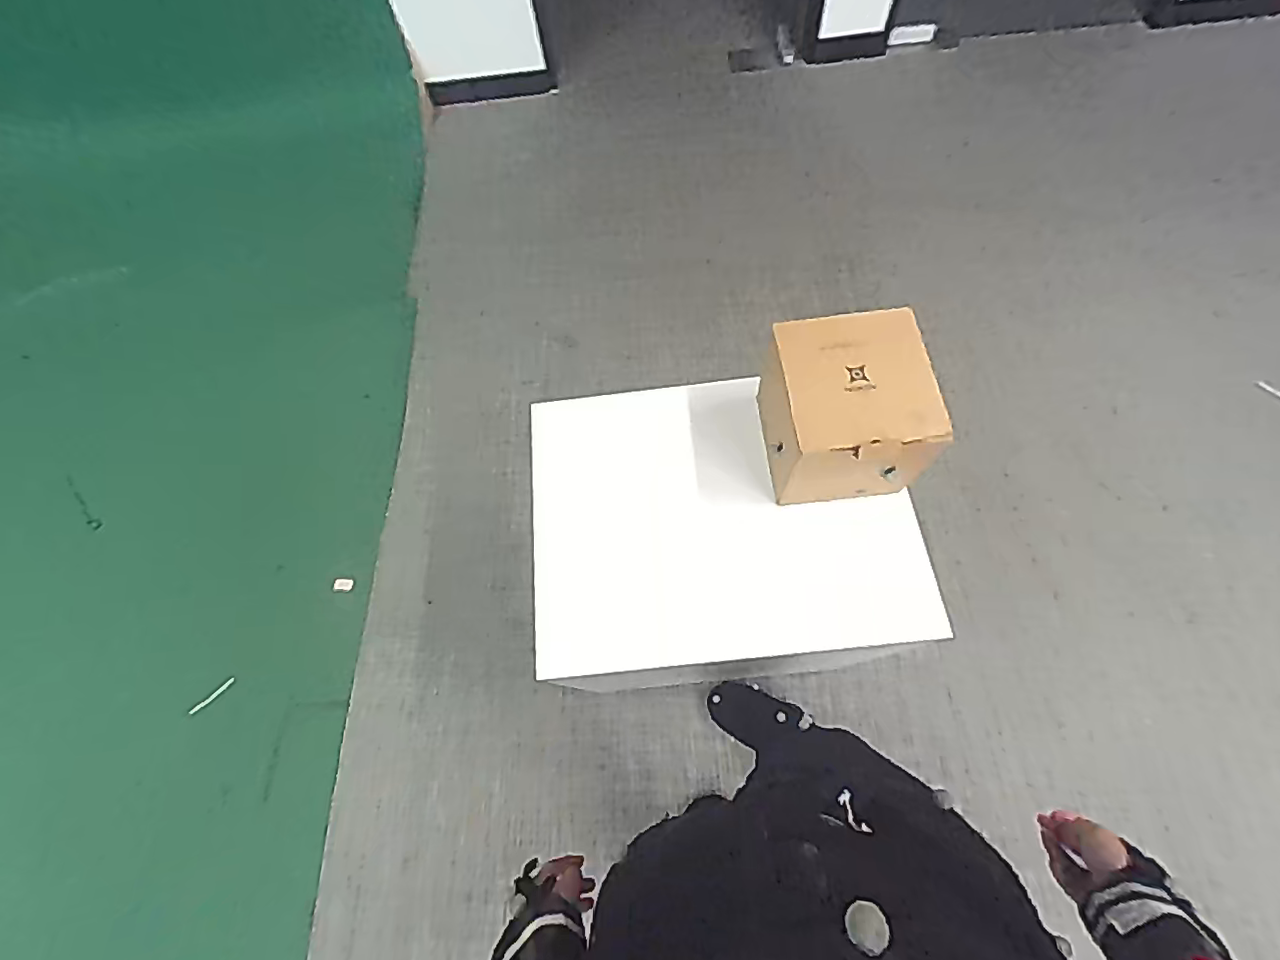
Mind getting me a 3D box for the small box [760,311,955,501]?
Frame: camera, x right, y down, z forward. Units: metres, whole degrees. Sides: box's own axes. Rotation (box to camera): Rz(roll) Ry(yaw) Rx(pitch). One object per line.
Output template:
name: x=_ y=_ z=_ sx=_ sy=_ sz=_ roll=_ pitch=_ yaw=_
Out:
small box: x=0.253 y=-0.081 z=0.678 sx=0.168 sy=0.176 sz=0.179 roll=-6 pitch=66 yaw=2
